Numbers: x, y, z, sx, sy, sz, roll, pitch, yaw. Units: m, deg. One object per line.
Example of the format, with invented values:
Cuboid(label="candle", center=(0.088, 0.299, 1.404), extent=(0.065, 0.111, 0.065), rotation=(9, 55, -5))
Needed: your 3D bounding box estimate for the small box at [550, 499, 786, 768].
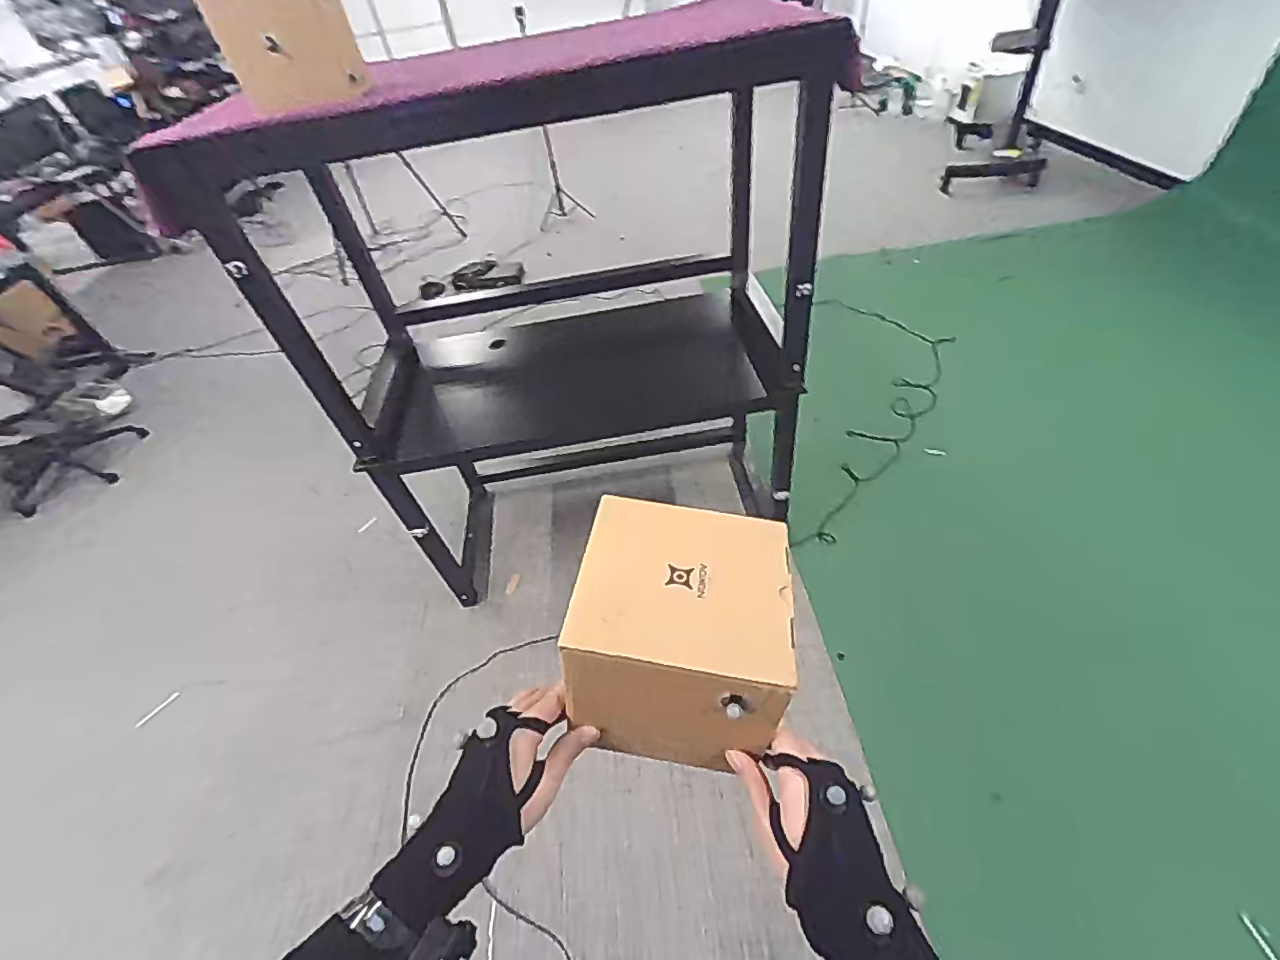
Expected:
Cuboid(label="small box", center=(0.025, 0.142, 0.500), extent=(0.179, 0.176, 0.168), rotation=(8, 42, 3))

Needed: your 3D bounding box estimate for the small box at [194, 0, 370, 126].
Cuboid(label="small box", center=(-0.609, -0.750, 0.951), extent=(0.179, 0.176, 0.168), rotation=(-12, 44, -1))
